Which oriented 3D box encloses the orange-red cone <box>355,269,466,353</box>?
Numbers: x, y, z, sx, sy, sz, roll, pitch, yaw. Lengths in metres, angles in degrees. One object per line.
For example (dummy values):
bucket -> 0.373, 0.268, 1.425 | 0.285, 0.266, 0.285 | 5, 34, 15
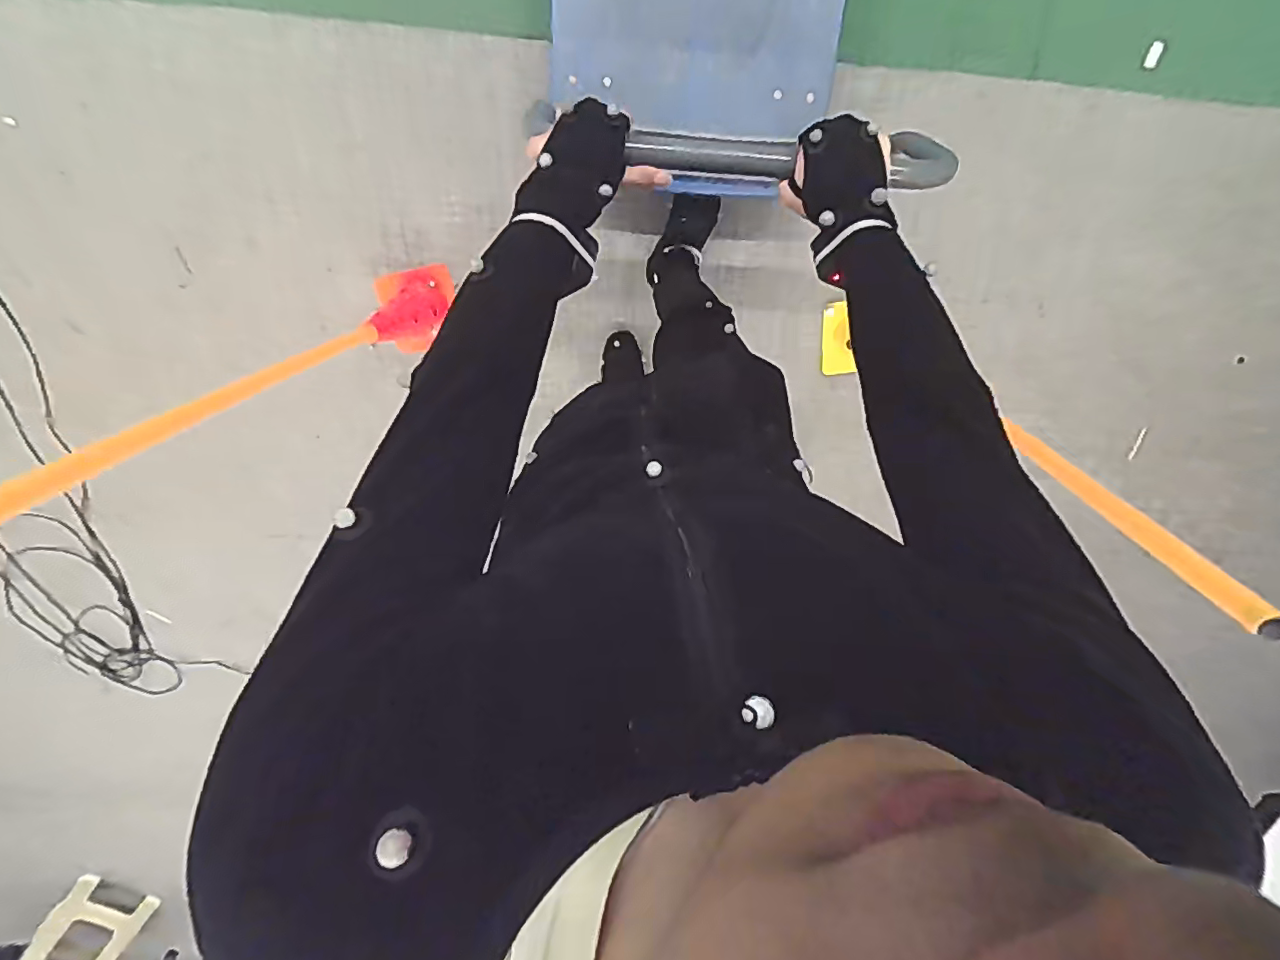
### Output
orange-red cone -> -0.573, -0.373, 1.274 | 0.199, 0.360, 0.198 | -10, 114, 4
